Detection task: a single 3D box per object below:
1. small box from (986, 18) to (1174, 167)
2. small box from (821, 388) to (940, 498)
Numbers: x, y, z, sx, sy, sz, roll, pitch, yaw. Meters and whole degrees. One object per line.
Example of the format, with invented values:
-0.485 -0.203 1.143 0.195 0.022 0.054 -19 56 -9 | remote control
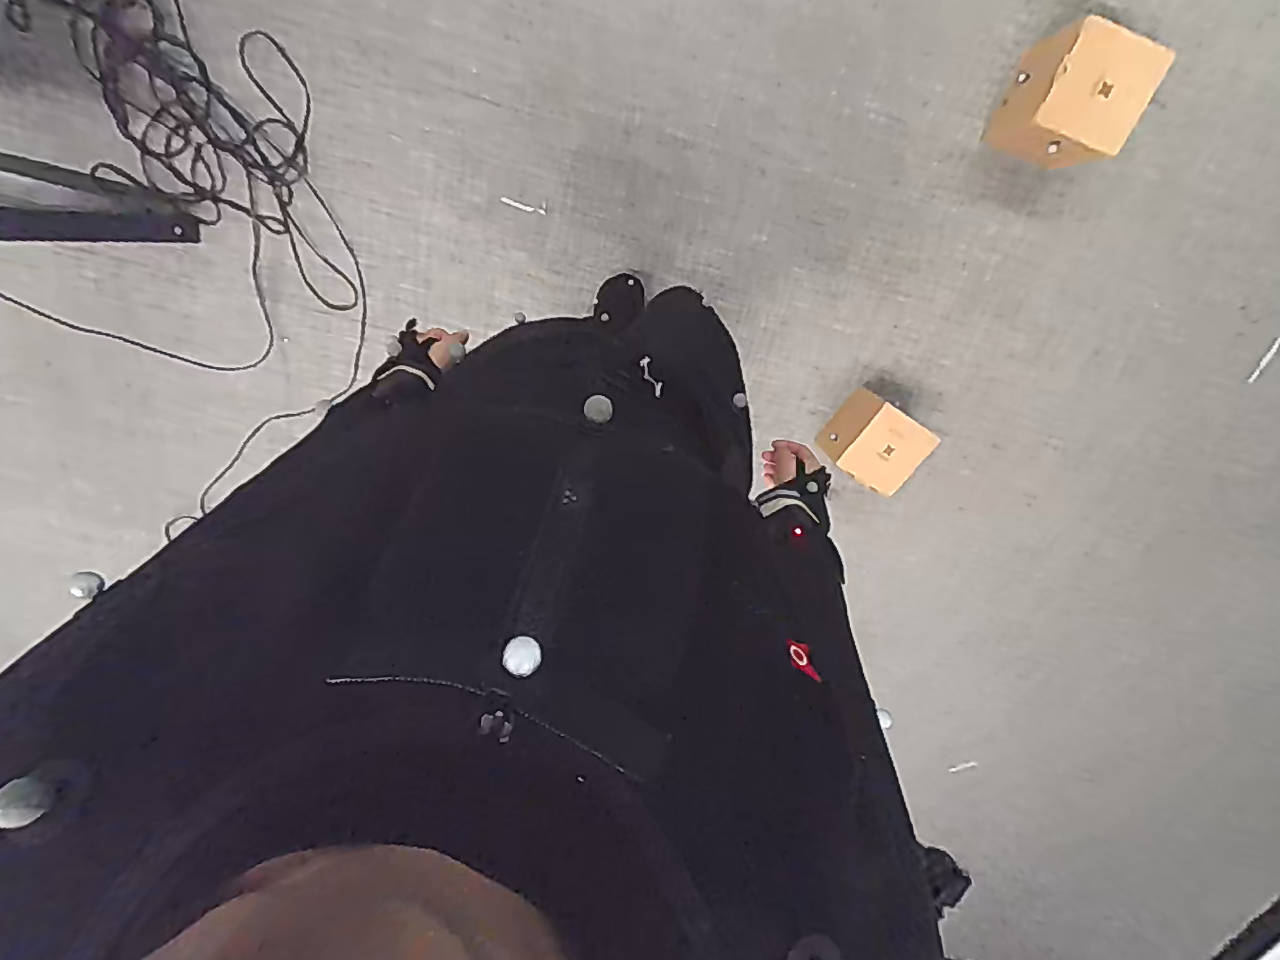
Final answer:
0.811 -0.712 1.019 0.179 0.176 0.168 18 112 -6 | small box
0.556 -0.093 1.284 0.168 0.176 0.179 29 109 -12 | small box
